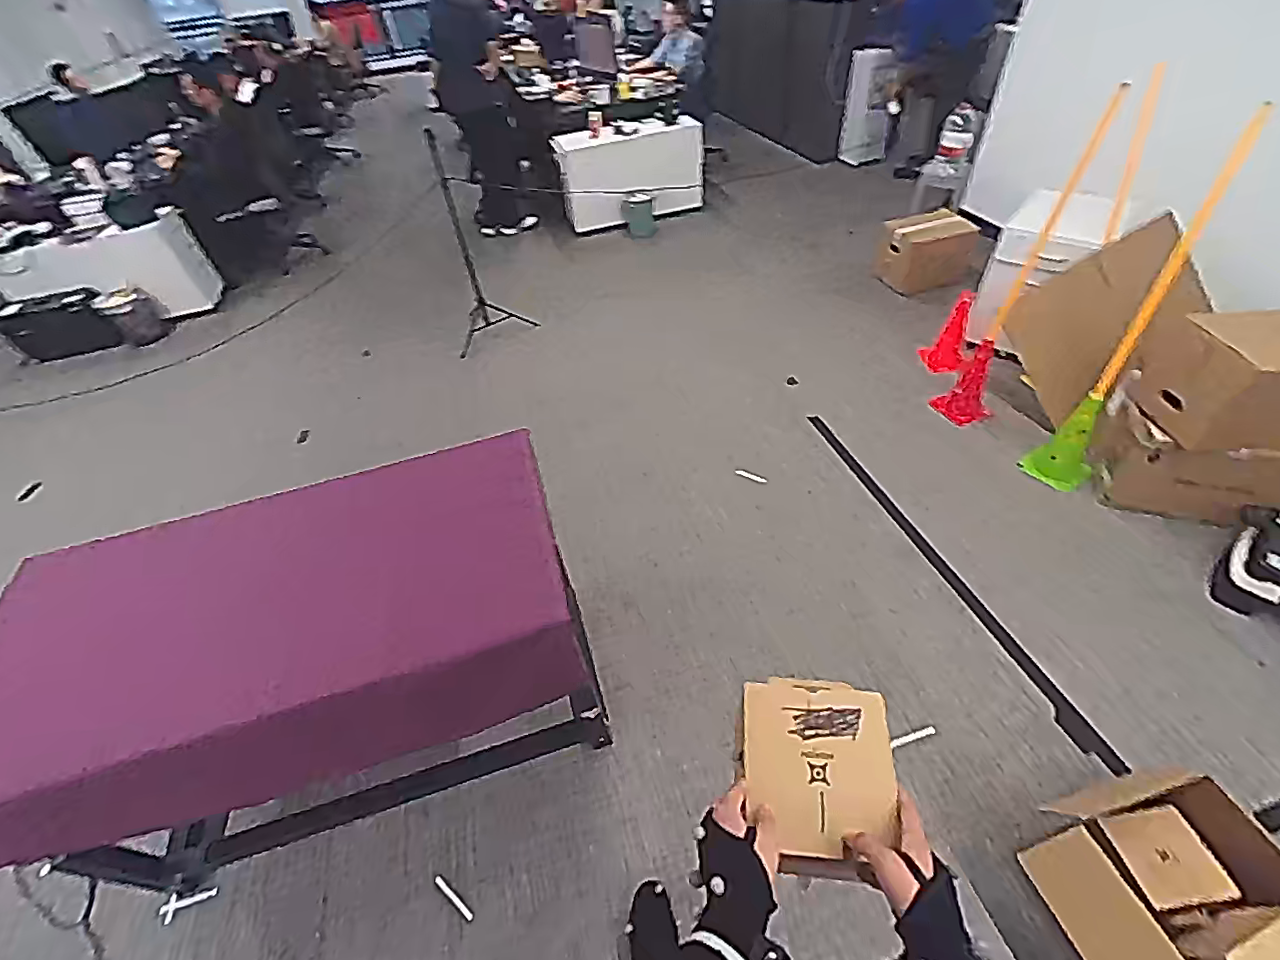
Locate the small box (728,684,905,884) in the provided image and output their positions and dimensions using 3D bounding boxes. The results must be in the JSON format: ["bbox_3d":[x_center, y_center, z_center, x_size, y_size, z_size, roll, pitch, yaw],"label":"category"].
[{"bbox_3d":[0.196,0.371,0.661,0.168,0.176,0.179,1,50,6],"label":"small box"}]
